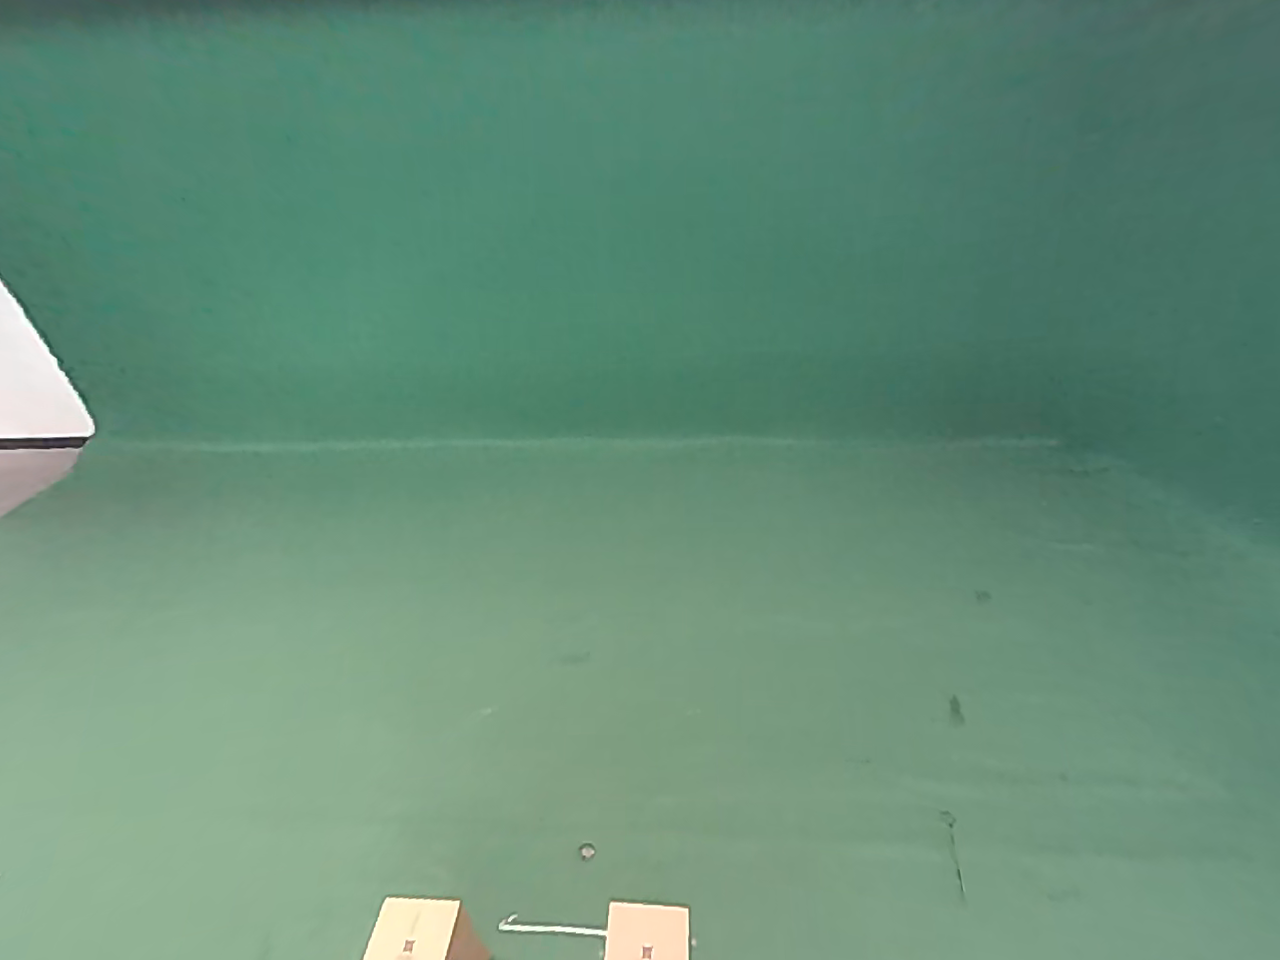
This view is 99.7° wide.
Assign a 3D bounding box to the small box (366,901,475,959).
[{"bbox_3d":[-0.454,1.004,1.110,0.168,0.176,0.179,0,34,4],"label":"small box"}]

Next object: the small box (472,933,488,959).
[{"bbox_3d":[-0.447,1.140,1.201,0.168,0.176,0.179,0,35,4],"label":"small box"}]

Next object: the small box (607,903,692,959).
[{"bbox_3d":[0.020,0.994,1.086,0.168,0.176,0.179,1,35,5],"label":"small box"}]
